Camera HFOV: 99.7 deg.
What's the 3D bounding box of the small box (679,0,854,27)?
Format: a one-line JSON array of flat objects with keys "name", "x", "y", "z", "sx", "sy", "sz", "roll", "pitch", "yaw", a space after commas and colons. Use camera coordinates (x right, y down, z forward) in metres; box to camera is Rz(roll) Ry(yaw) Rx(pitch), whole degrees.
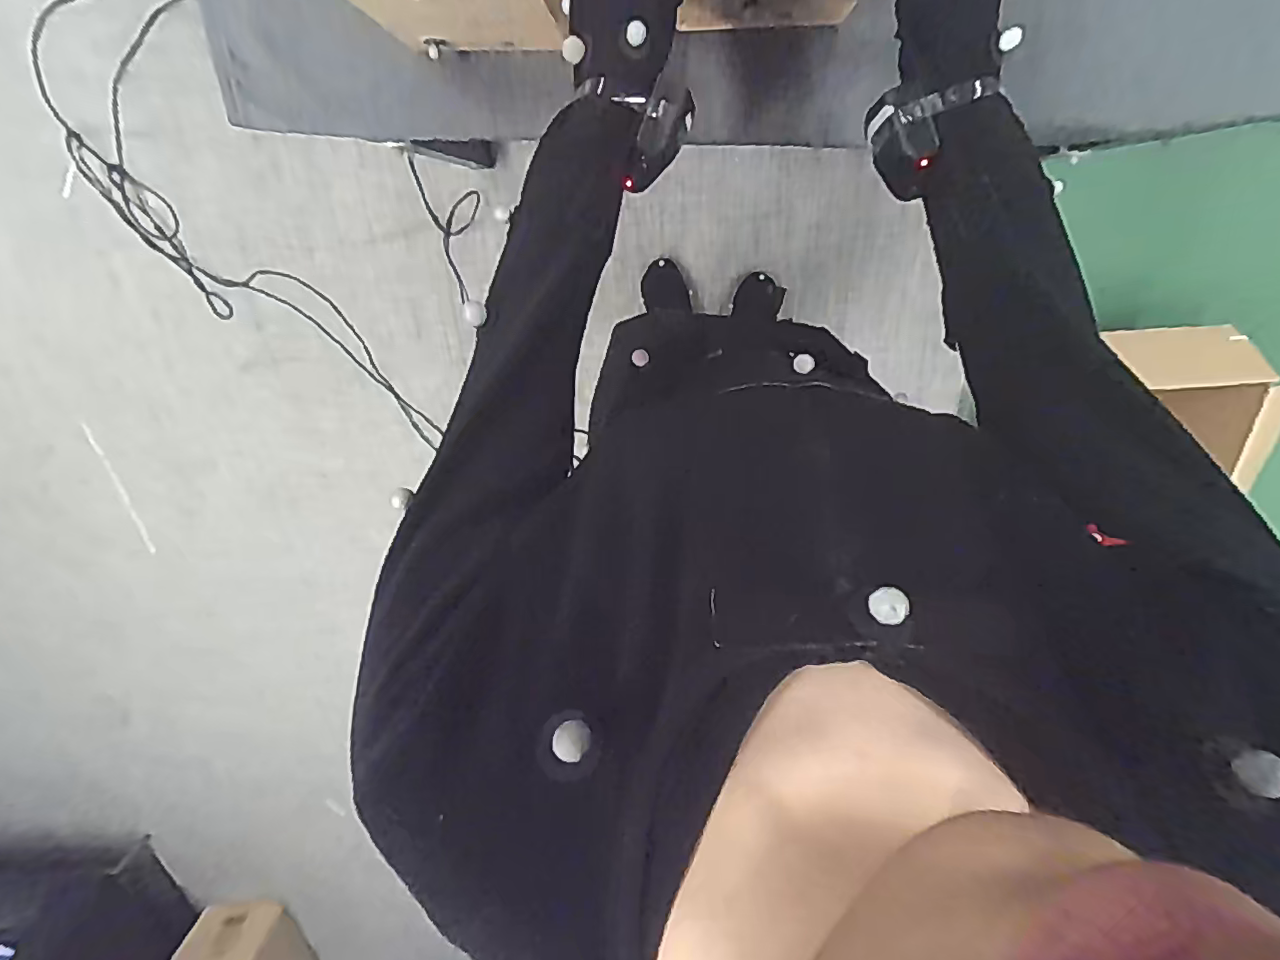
[{"name": "small box", "x": 0.113, "y": -0.498, "z": 0.427, "sx": 0.168, "sy": 0.176, "sz": 0.179, "roll": 0, "pitch": 115, "yaw": 4}]
